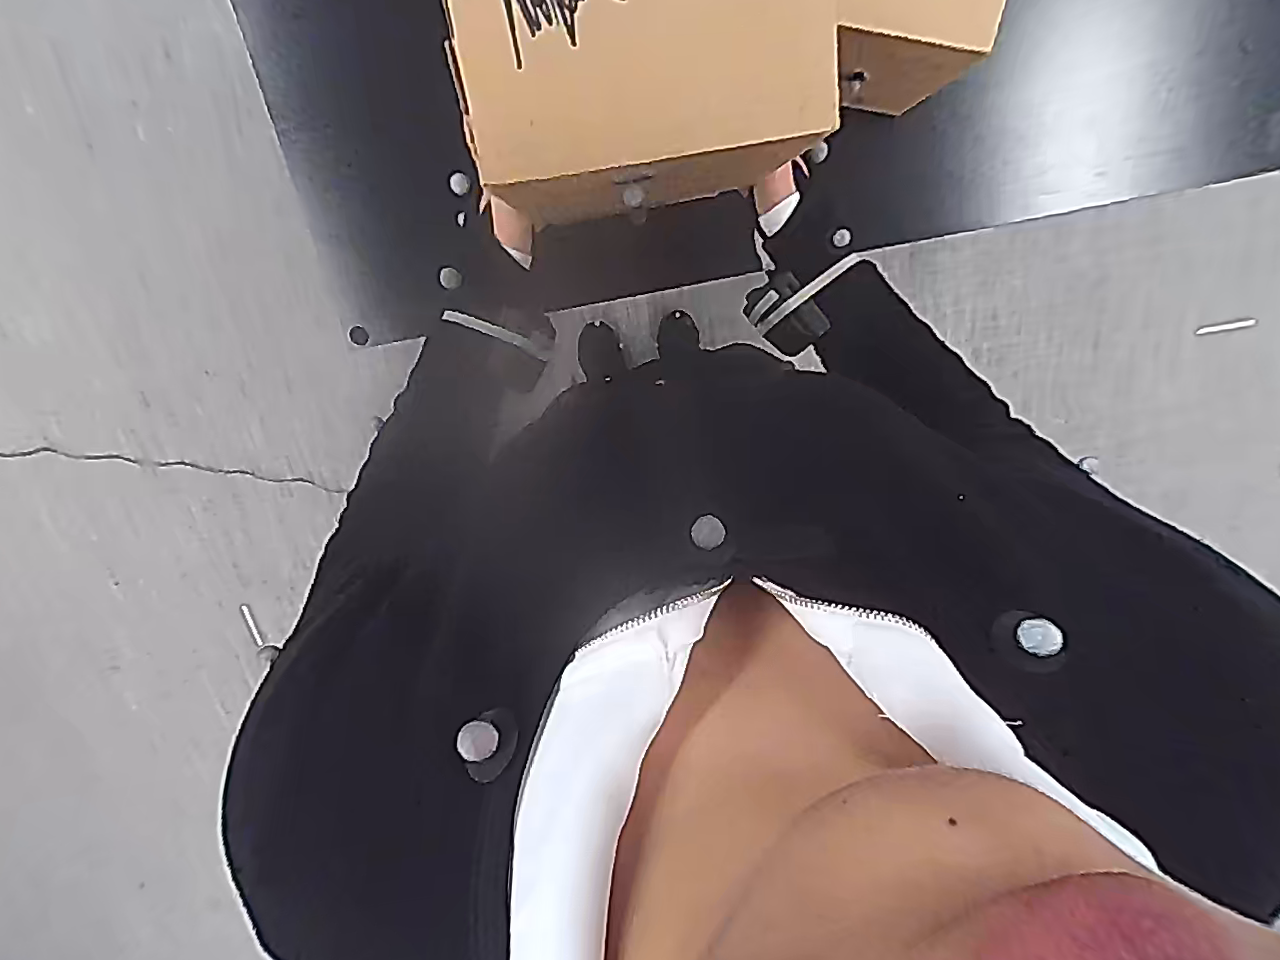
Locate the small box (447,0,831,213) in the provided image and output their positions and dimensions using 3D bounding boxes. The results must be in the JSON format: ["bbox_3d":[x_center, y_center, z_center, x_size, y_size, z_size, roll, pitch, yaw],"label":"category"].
[{"bbox_3d":[-0.006,-0.263,0.314,0.179,0.176,0.168,-9,111,0],"label":"small box"}]

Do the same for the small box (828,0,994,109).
[{"bbox_3d":[0.237,-0.502,0.536,0.168,0.176,0.179,6,107,-5],"label":"small box"}]
